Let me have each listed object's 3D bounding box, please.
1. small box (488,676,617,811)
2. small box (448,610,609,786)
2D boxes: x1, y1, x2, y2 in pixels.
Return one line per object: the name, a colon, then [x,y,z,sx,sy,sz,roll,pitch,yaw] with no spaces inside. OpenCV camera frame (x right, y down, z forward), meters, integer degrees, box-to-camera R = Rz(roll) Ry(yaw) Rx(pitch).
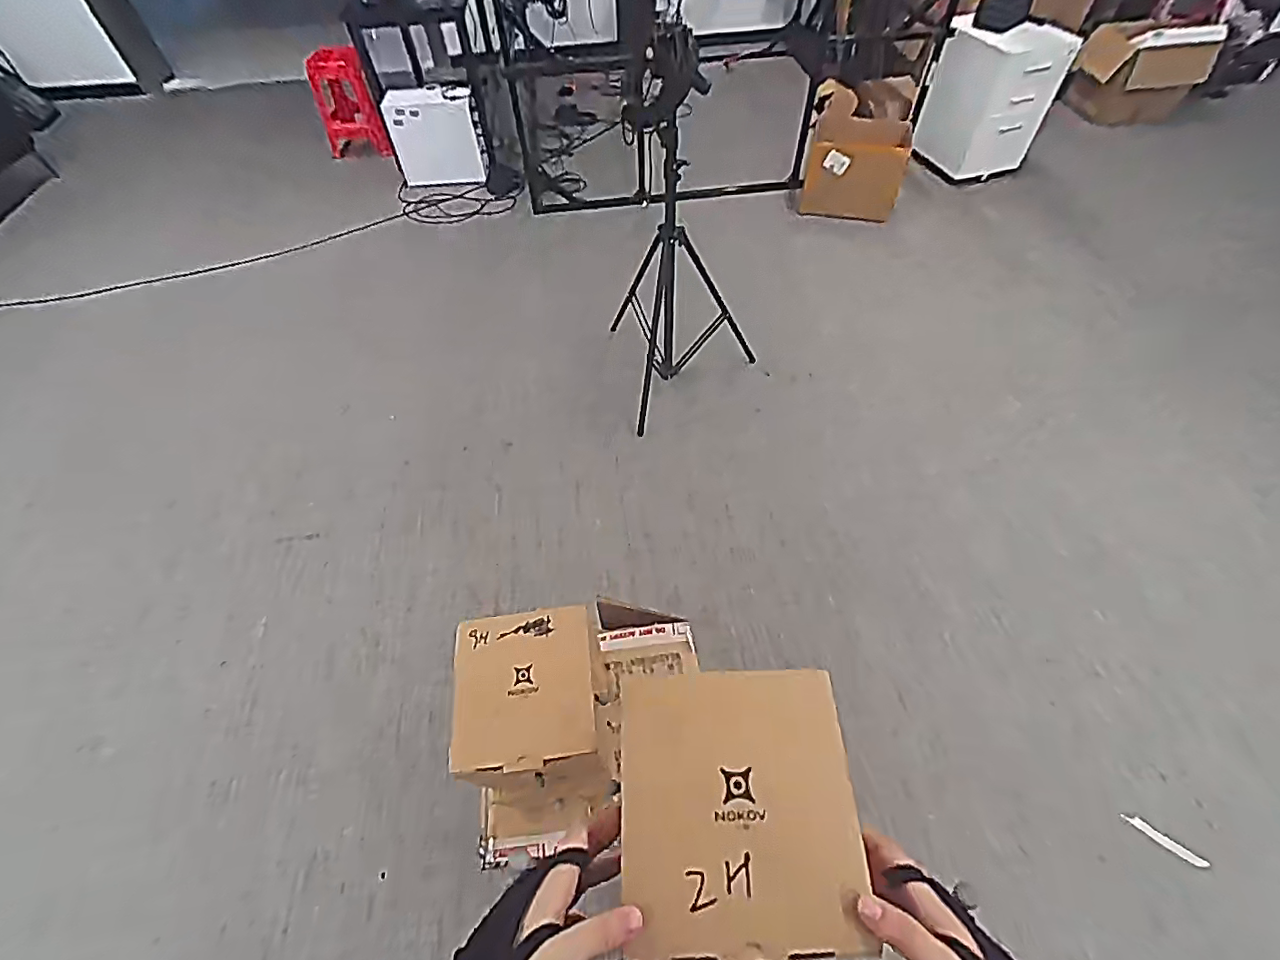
small box: [-0.130,0.390,0.825,0.168,0.176,0.179,-9,57,-3]
small box: [-0.134,0.287,0.697,0.168,0.176,0.179,-7,57,-2]
